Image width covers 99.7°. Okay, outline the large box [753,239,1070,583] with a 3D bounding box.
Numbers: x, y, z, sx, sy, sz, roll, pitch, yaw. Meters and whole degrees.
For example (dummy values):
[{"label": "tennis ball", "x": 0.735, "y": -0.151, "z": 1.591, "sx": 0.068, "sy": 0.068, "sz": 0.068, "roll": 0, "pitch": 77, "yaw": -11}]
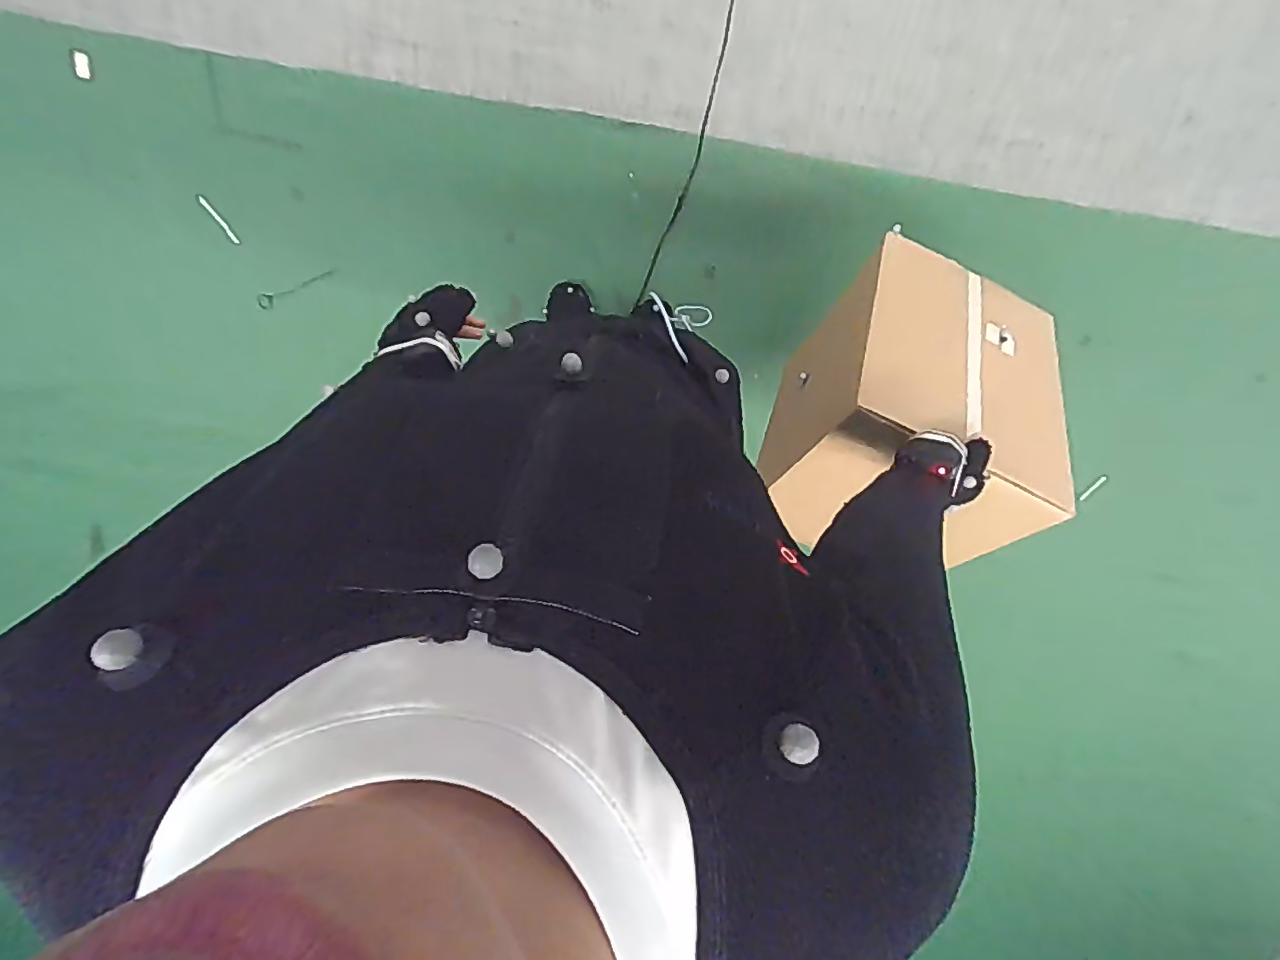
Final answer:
[{"label": "large box", "x": 0.423, "y": -0.102, "z": 0.897, "sx": 0.320, "sy": 0.408, "sz": 0.320, "roll": 26, "pitch": 147, "yaw": -4}]
